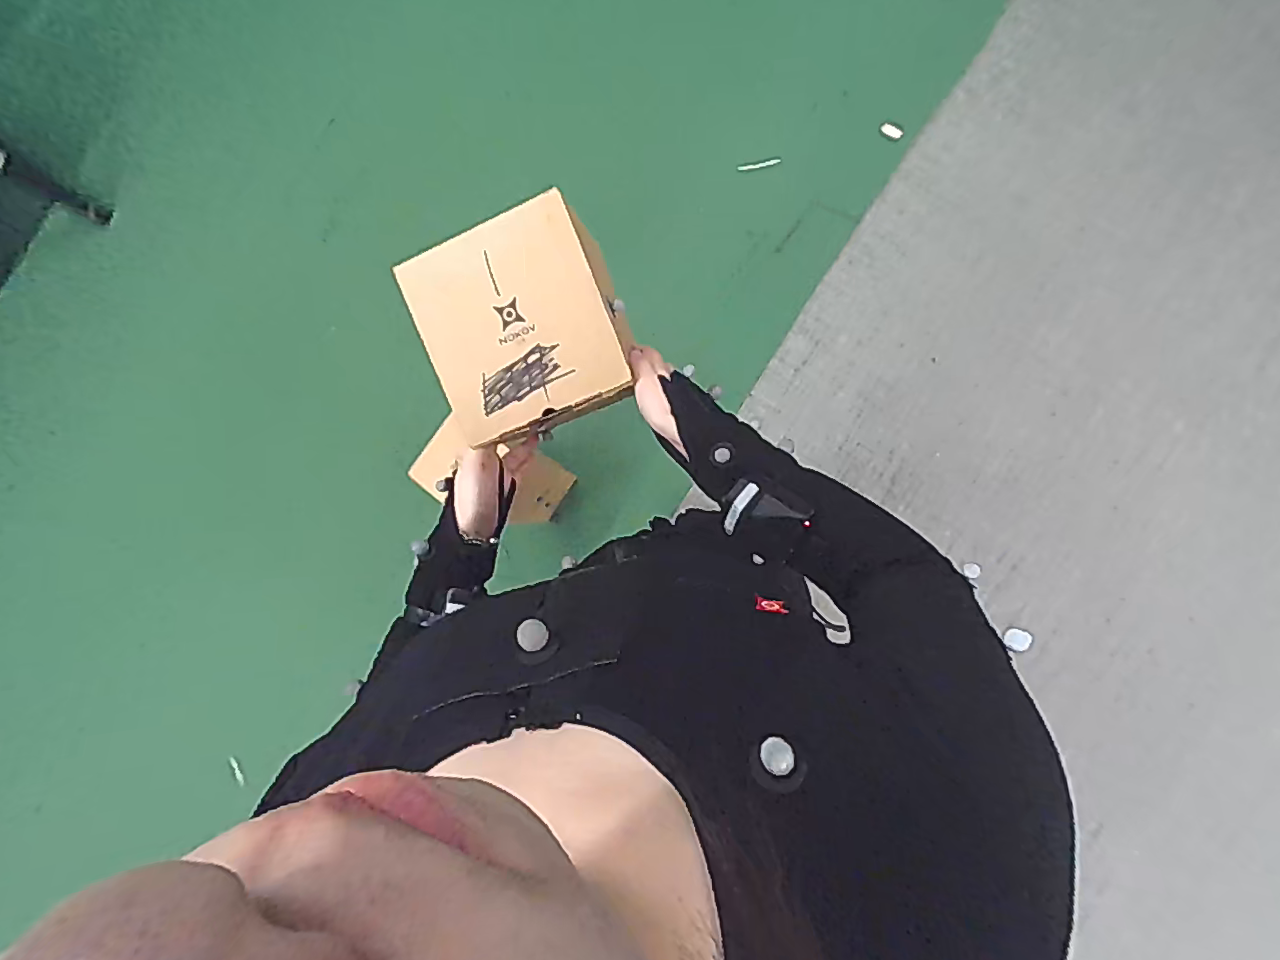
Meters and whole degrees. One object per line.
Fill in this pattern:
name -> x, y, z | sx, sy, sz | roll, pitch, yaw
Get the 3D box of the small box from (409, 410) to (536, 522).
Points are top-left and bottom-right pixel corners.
small box -> -0.355, -0.023, 1.183 | 0.168, 0.176, 0.179 | 37, 92, 10

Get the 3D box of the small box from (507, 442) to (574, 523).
small box -> -0.309, 0.004, 1.508 | 0.179, 0.176, 0.168 | 34, 91, 11

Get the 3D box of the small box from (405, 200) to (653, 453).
small box -> -0.094, -0.142, 0.549 | 0.168, 0.176, 0.179 | -19, 96, 10
